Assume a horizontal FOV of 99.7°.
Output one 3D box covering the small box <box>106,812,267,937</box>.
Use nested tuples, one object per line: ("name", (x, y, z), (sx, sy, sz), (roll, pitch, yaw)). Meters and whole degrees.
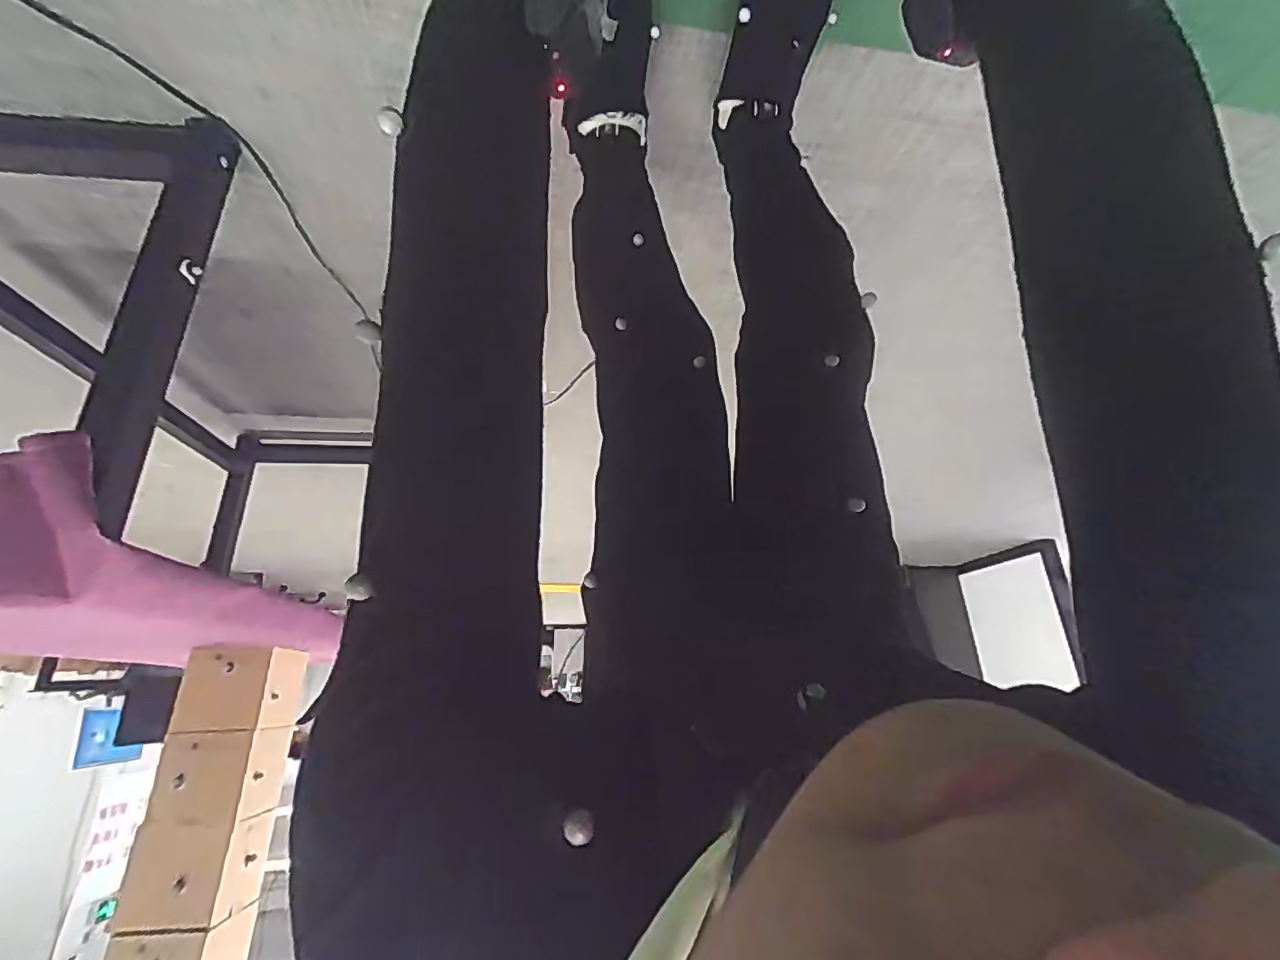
("small box", (-0.870, 0.756, 1.063), (0.179, 0.176, 0.168), (1, 157, -6))

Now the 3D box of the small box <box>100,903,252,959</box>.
("small box", (-0.864, 0.908, 1.000), (0.168, 0.176, 0.179), (2, 157, -6))

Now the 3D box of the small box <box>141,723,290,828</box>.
("small box", (-0.867, 0.605, 1.124), (0.168, 0.176, 0.179), (2, 158, -7))
